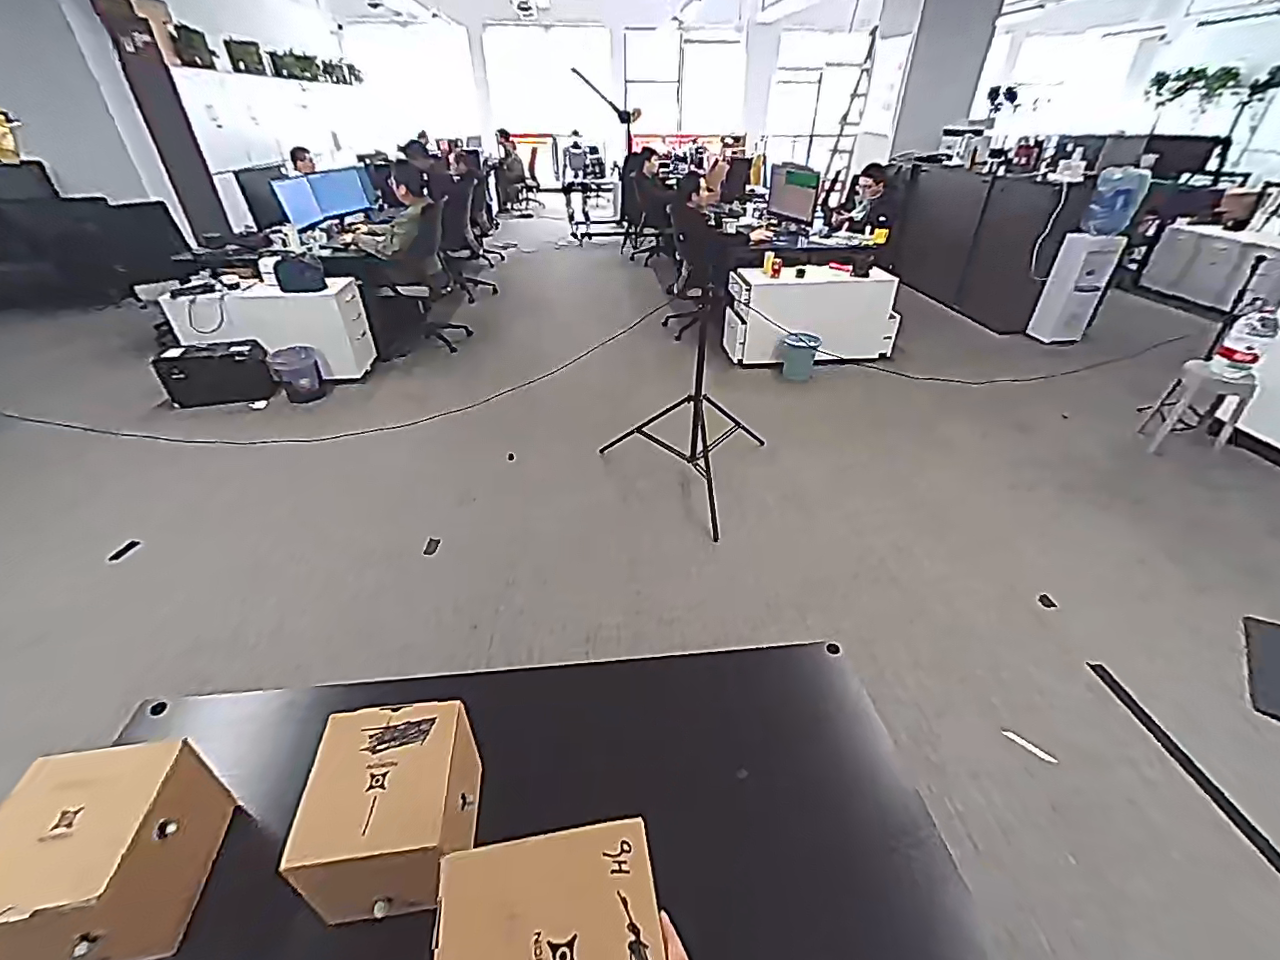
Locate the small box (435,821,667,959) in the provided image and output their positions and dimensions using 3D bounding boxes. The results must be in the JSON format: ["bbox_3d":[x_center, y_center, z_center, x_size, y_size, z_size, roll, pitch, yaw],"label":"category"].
[{"bbox_3d":[-0.071,0.422,0.461,0.179,0.176,0.168,-4,43,-10],"label":"small box"}]

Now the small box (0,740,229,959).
[{"bbox_3d":[-0.631,0.443,0.634,0.168,0.176,0.179,-5,34,-10],"label":"small box"}]

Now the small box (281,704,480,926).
[{"bbox_3d":[-0.302,0.414,0.678,0.168,0.176,0.179,-4,35,-6],"label":"small box"}]
